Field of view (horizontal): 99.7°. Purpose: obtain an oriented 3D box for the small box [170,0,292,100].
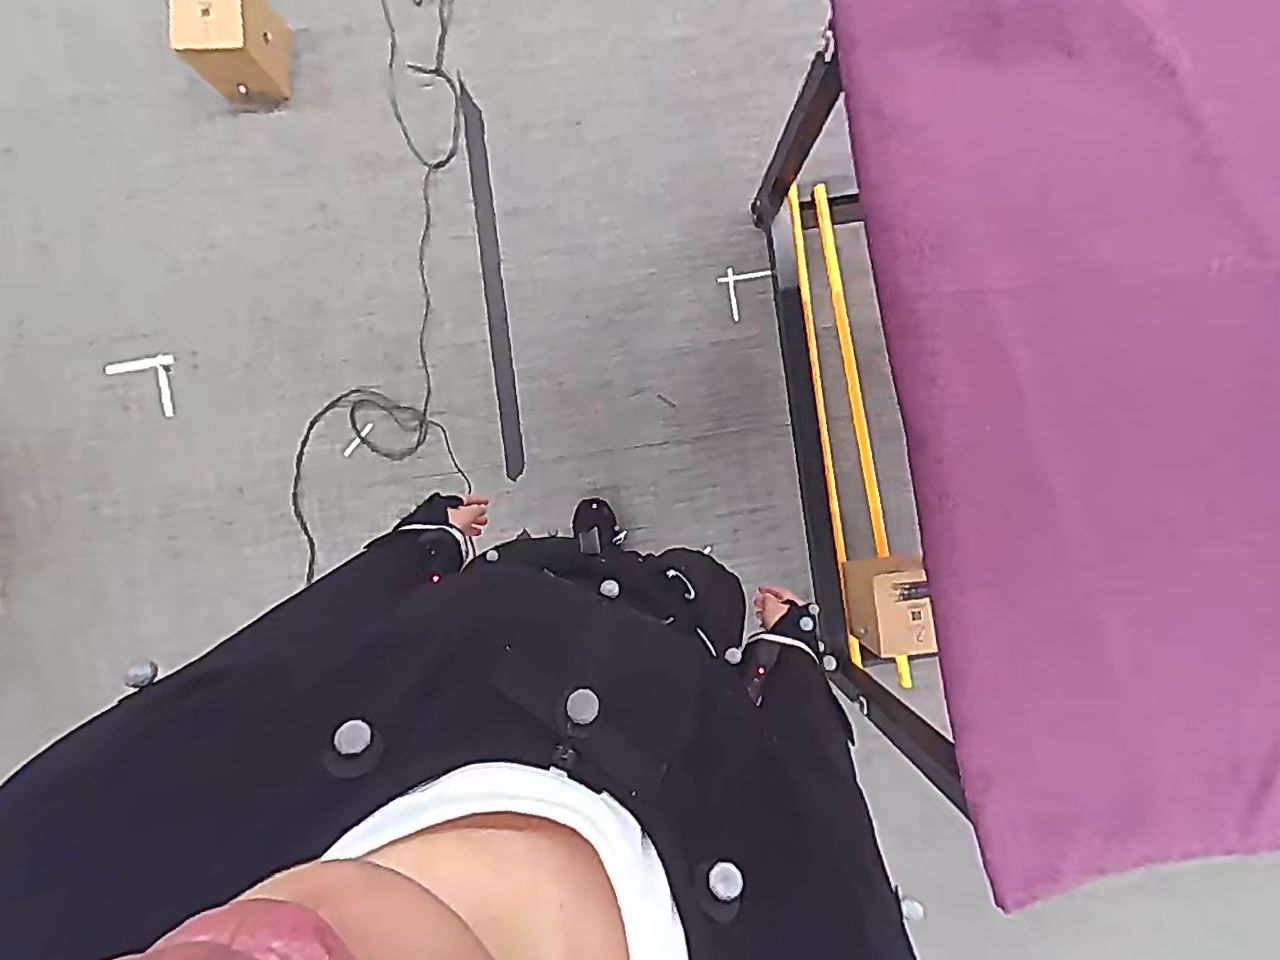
[{"bbox_3d":[-0.953,-1.042,1.273,0.168,0.176,0.179,0,91,0],"label":"small box"}]
